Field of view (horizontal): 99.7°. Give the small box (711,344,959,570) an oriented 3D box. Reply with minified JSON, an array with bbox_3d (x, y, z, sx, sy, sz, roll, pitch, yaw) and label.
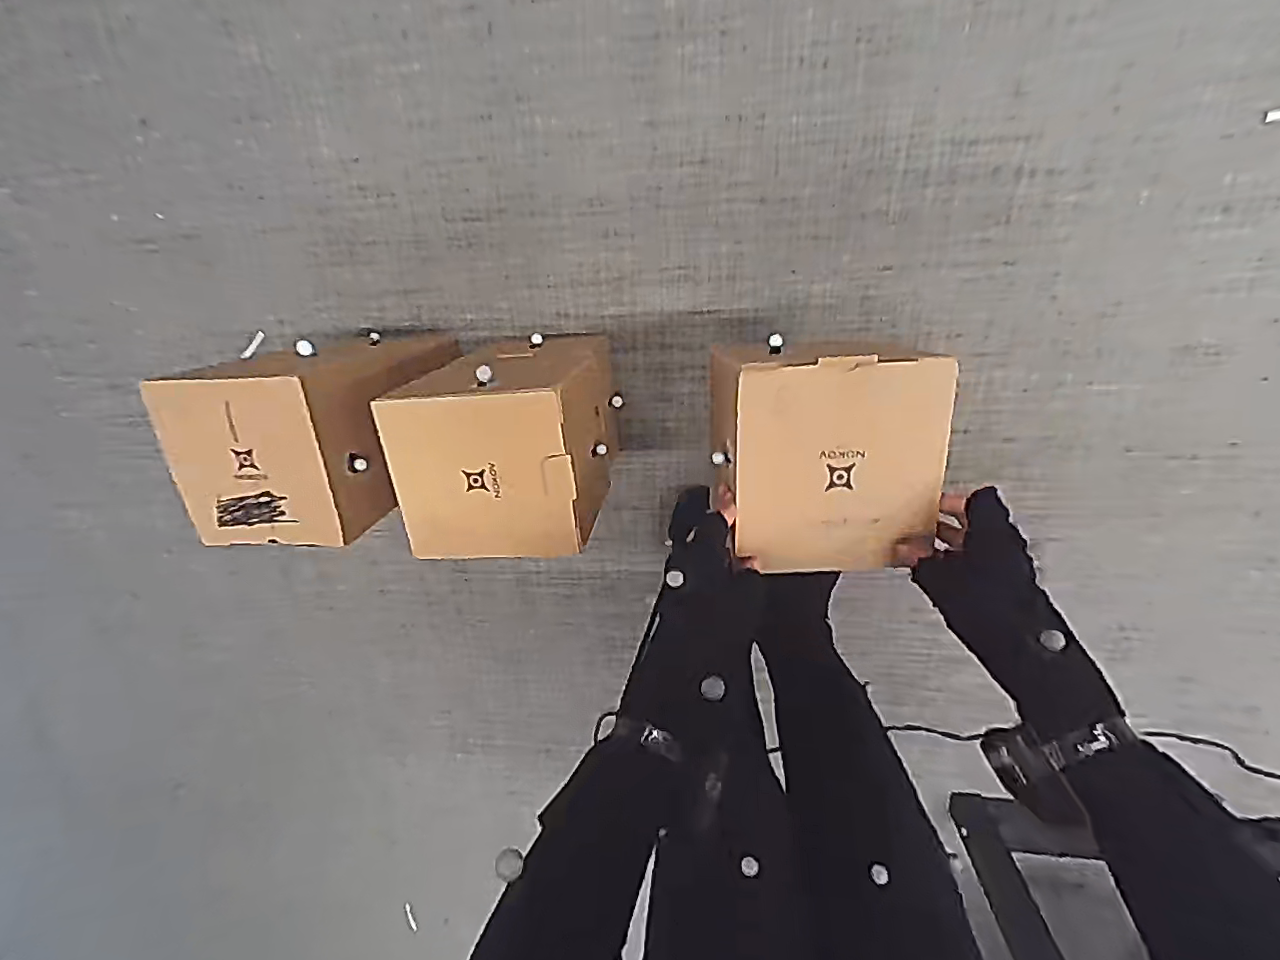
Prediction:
[{"bbox_3d":[0.158,-0.033,0.503,0.168,0.176,0.179,-2,109,1],"label":"small box"}]

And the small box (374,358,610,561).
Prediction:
[{"bbox_3d":[-0.137,-0.029,0.570,0.179,0.176,0.168,-3,113,7],"label":"small box"}]

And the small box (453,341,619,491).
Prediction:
[{"bbox_3d":[-0.124,-0.088,0.721,0.168,0.176,0.179,-2,112,8],"label":"small box"}]
